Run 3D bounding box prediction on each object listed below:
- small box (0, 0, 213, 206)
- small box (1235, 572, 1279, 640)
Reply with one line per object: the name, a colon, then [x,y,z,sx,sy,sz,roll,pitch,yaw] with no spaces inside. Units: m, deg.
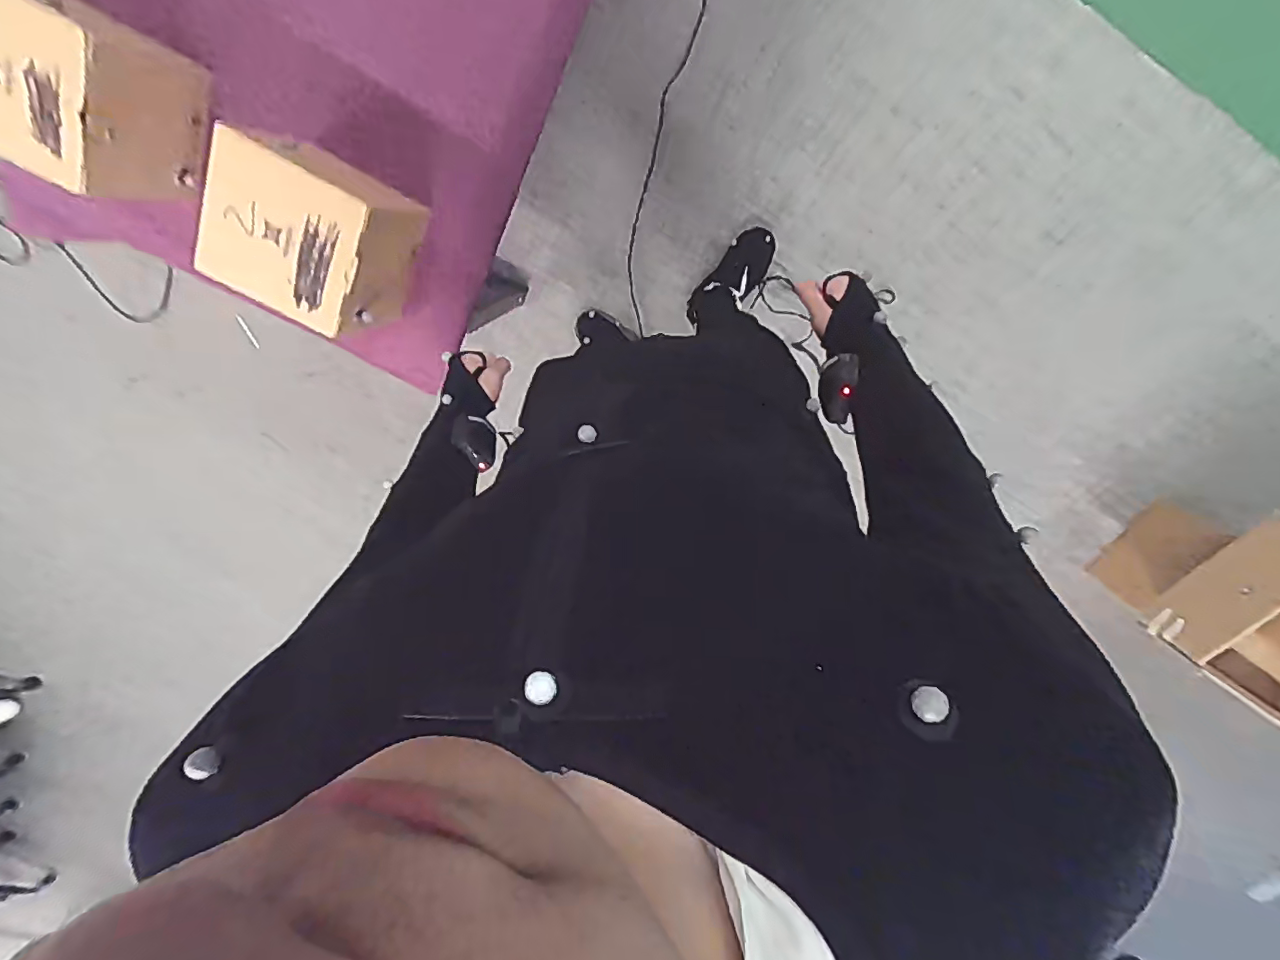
small box: [-0.660,-0.449,0.643,0.179,0.176,0.168,25,114,-8]
small box: [1.520,0.314,1.200,0.179,0.176,0.168,31,113,-11]
